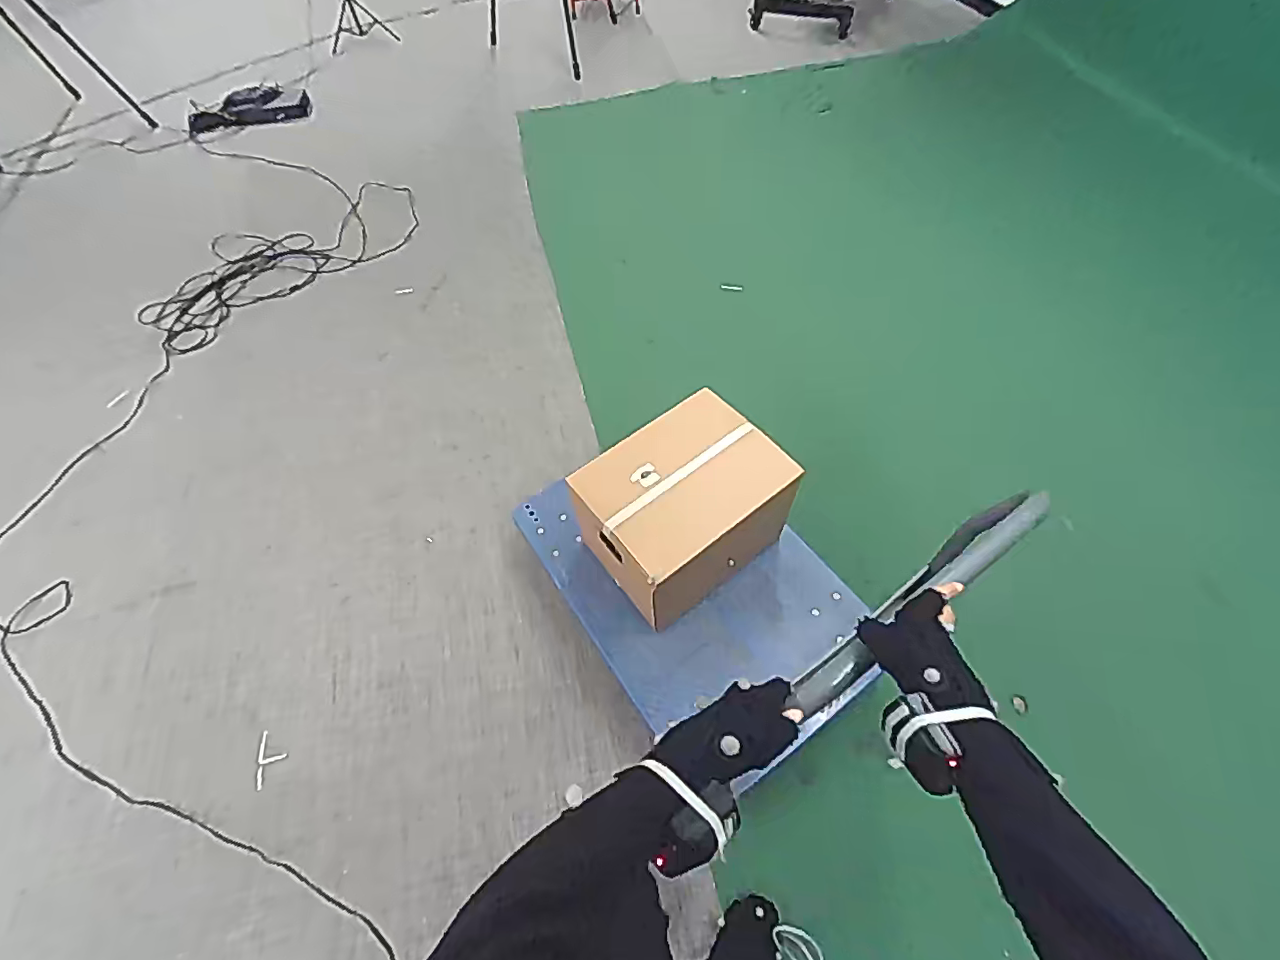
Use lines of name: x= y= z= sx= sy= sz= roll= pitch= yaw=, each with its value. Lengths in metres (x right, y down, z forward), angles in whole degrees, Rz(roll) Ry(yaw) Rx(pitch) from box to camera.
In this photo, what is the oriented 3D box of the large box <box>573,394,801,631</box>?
large box: x=0.107 y=0.078 z=1.277 sx=0.408 sy=0.320 sz=0.320 roll=-35 pitch=62 yaw=-17
